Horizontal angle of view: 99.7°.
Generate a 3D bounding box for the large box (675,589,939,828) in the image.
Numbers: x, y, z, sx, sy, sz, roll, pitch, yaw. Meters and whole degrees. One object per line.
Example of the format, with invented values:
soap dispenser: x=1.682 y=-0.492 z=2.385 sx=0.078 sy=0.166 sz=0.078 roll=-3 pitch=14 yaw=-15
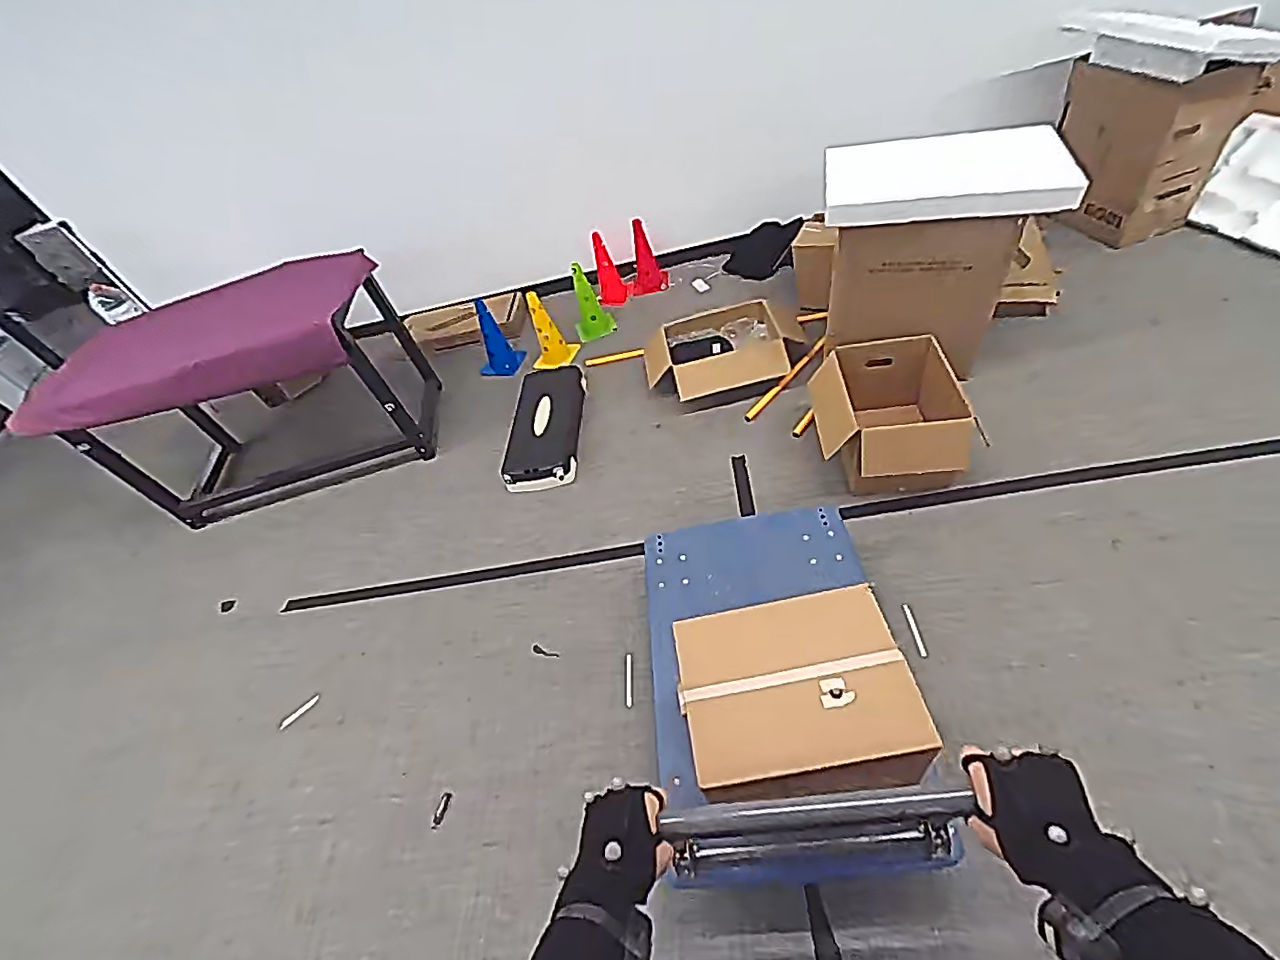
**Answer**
large box: x=0.309 y=0.472 z=1.104 sx=0.408 sy=0.320 sz=0.320 roll=-12 pitch=47 yaw=4
